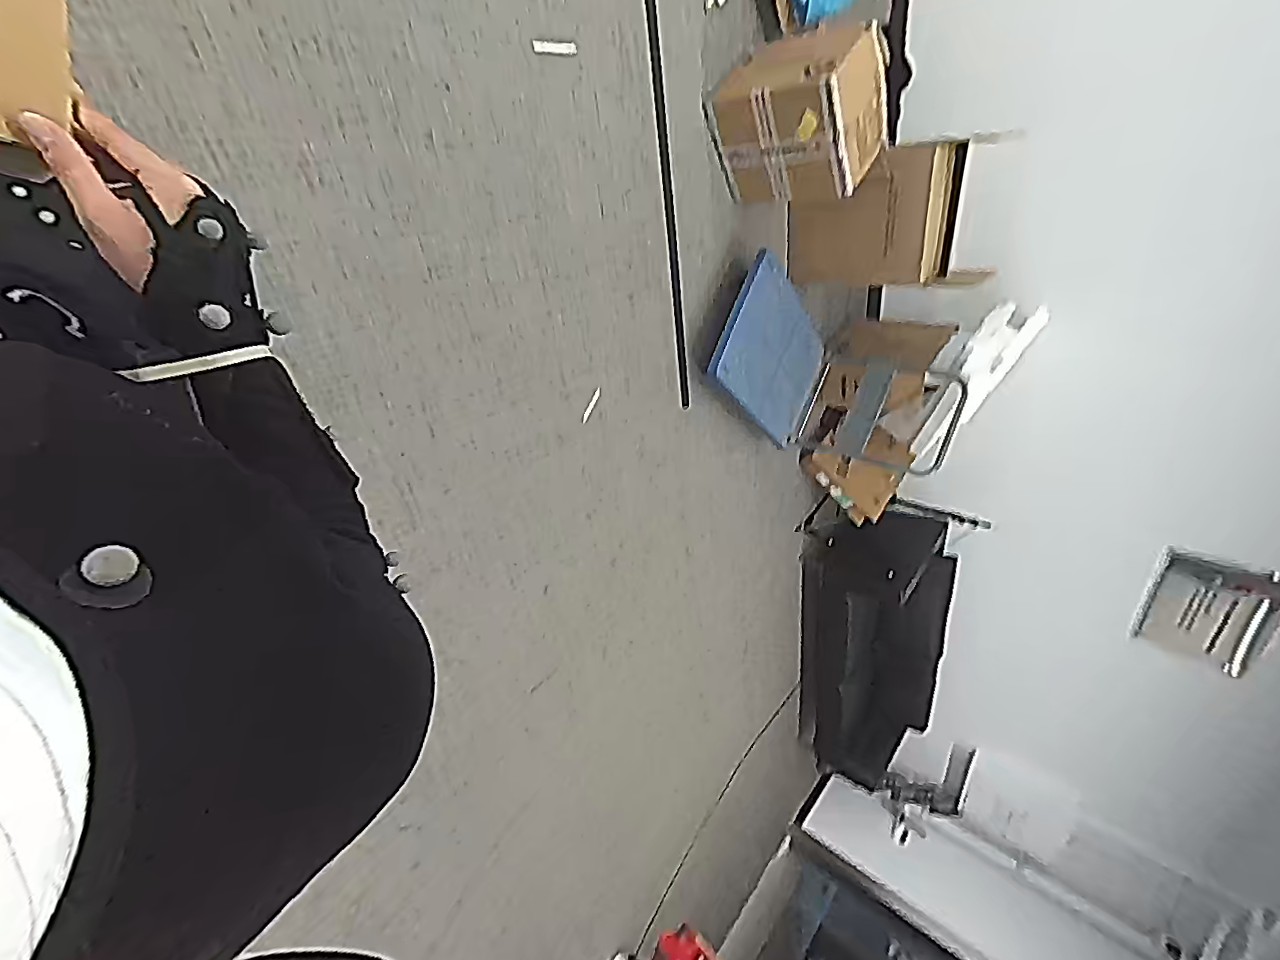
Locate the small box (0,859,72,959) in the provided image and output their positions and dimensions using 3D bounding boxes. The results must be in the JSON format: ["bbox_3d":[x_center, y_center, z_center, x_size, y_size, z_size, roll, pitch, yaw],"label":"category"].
[{"bbox_3d":[-0.906,0.657,0.717,0.168,0.176,0.179,-36,129,-36],"label":"small box"}]

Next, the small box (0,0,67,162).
[{"bbox_3d":[-0.428,-0.292,0.277,0.168,0.176,0.179,-5,109,-52],"label":"small box"}]
